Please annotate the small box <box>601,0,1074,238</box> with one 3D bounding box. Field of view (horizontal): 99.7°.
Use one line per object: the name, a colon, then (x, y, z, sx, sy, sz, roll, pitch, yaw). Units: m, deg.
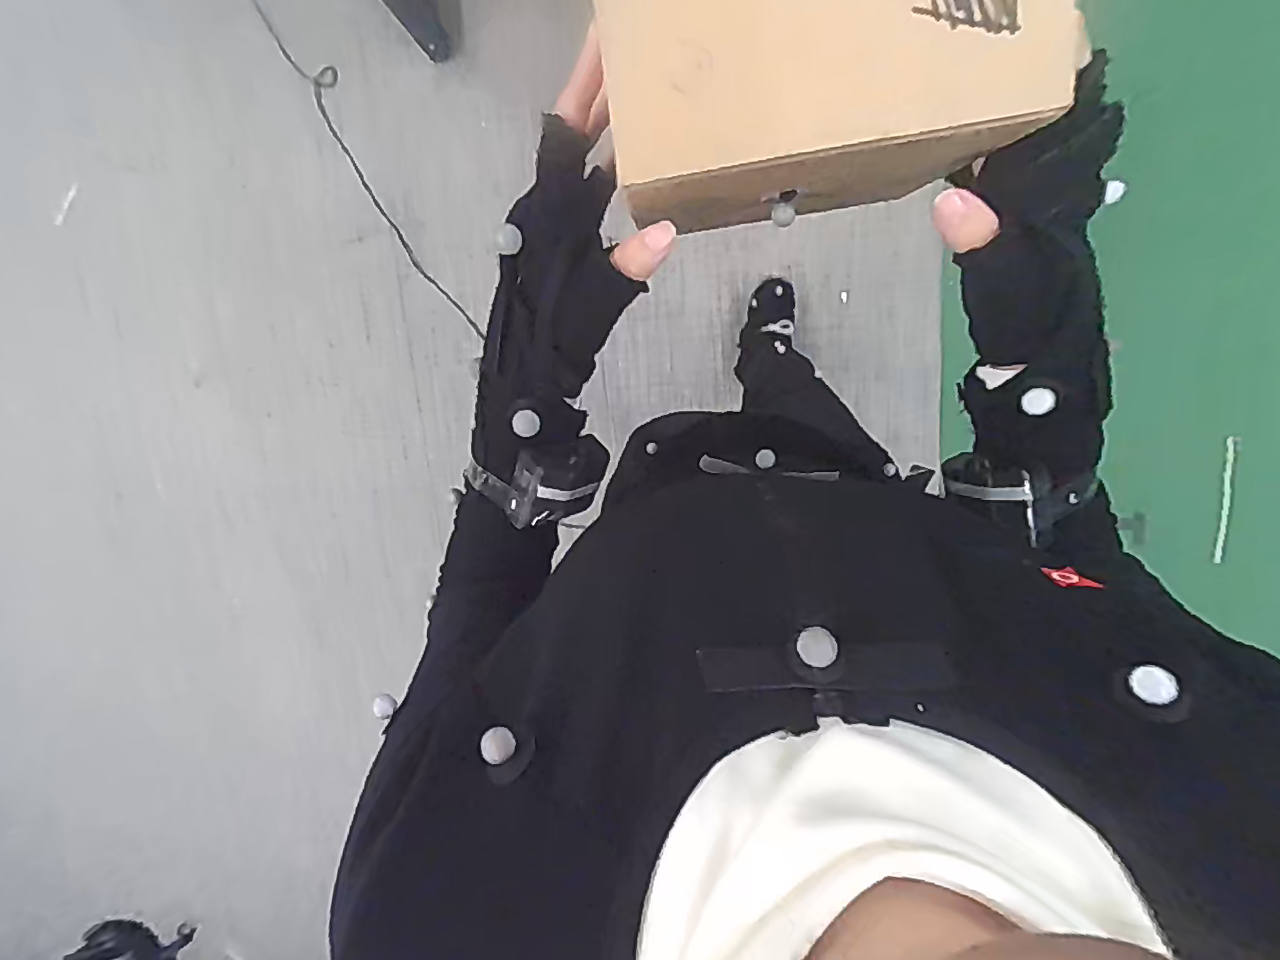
small box: (0.071, -0.233, 0.271, 0.179, 0.176, 0.168, -10, 106, 6)
